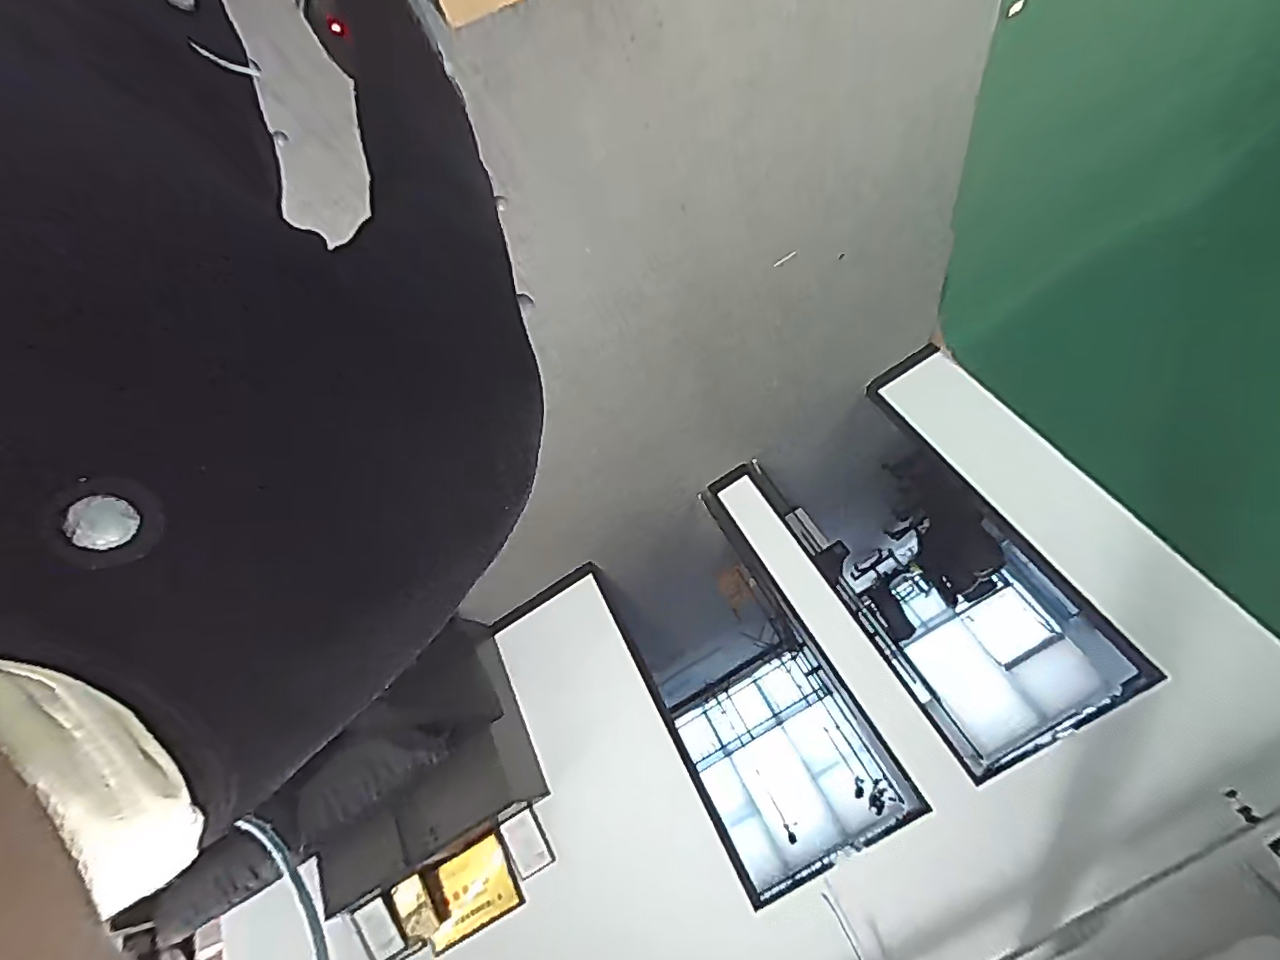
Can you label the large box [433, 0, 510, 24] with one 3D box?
[{"bbox_3d":[-0.219,-0.983,0.798,0.408,0.320,0.320,-29,151,-4],"label":"large box"}]
